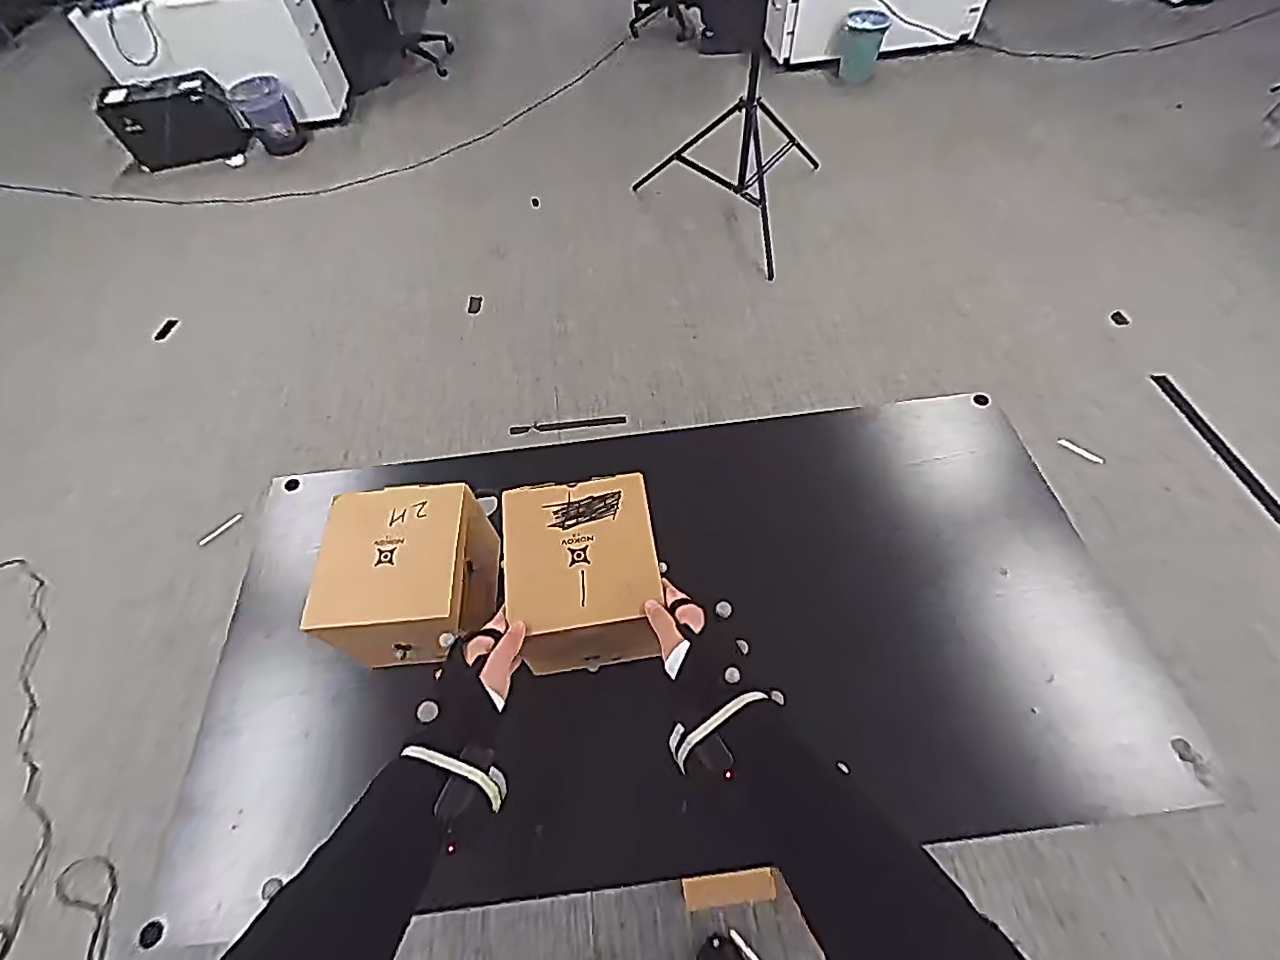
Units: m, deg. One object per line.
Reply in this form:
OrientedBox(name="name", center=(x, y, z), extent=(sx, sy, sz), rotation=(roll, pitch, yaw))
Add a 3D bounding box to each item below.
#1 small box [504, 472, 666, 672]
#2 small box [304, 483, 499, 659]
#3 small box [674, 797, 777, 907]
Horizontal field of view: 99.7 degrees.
OrientedBox(name="small box", center=(-0.065, 0.115, 0.656), extent=(0.168, 0.176, 0.179), rotation=(-9, 59, -3))
OrientedBox(name="small box", center=(-0.288, 0.125, 0.699), extent=(0.168, 0.176, 0.179), rotation=(-5, 57, 0))
OrientedBox(name="small box", center=(0.168, 0.767, 1.126), extent=(0.179, 0.176, 0.168), rotation=(-9, 56, 0))
